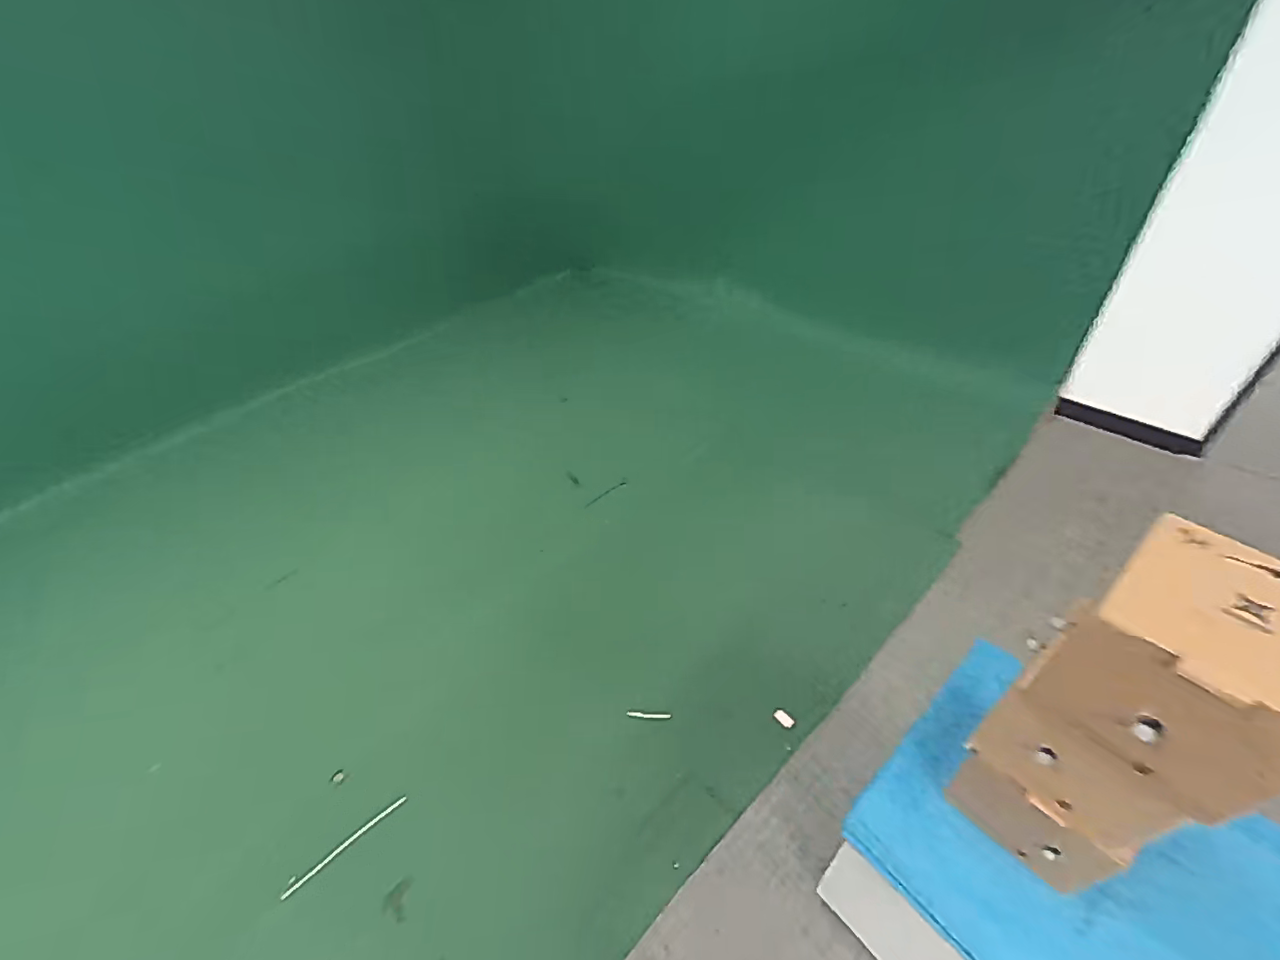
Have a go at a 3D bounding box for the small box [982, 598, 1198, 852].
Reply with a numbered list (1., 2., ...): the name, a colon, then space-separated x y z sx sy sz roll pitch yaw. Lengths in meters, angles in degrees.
1. small box: 0.532 0.280 0.622 0.179 0.176 0.168 -31 48 -25

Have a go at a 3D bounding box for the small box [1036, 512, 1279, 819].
1. small box: 0.513 0.169 0.502 0.179 0.176 0.168 -31 49 -24

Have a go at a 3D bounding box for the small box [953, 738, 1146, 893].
1. small box: 0.554 0.404 0.725 0.179 0.176 0.168 -32 49 -25
